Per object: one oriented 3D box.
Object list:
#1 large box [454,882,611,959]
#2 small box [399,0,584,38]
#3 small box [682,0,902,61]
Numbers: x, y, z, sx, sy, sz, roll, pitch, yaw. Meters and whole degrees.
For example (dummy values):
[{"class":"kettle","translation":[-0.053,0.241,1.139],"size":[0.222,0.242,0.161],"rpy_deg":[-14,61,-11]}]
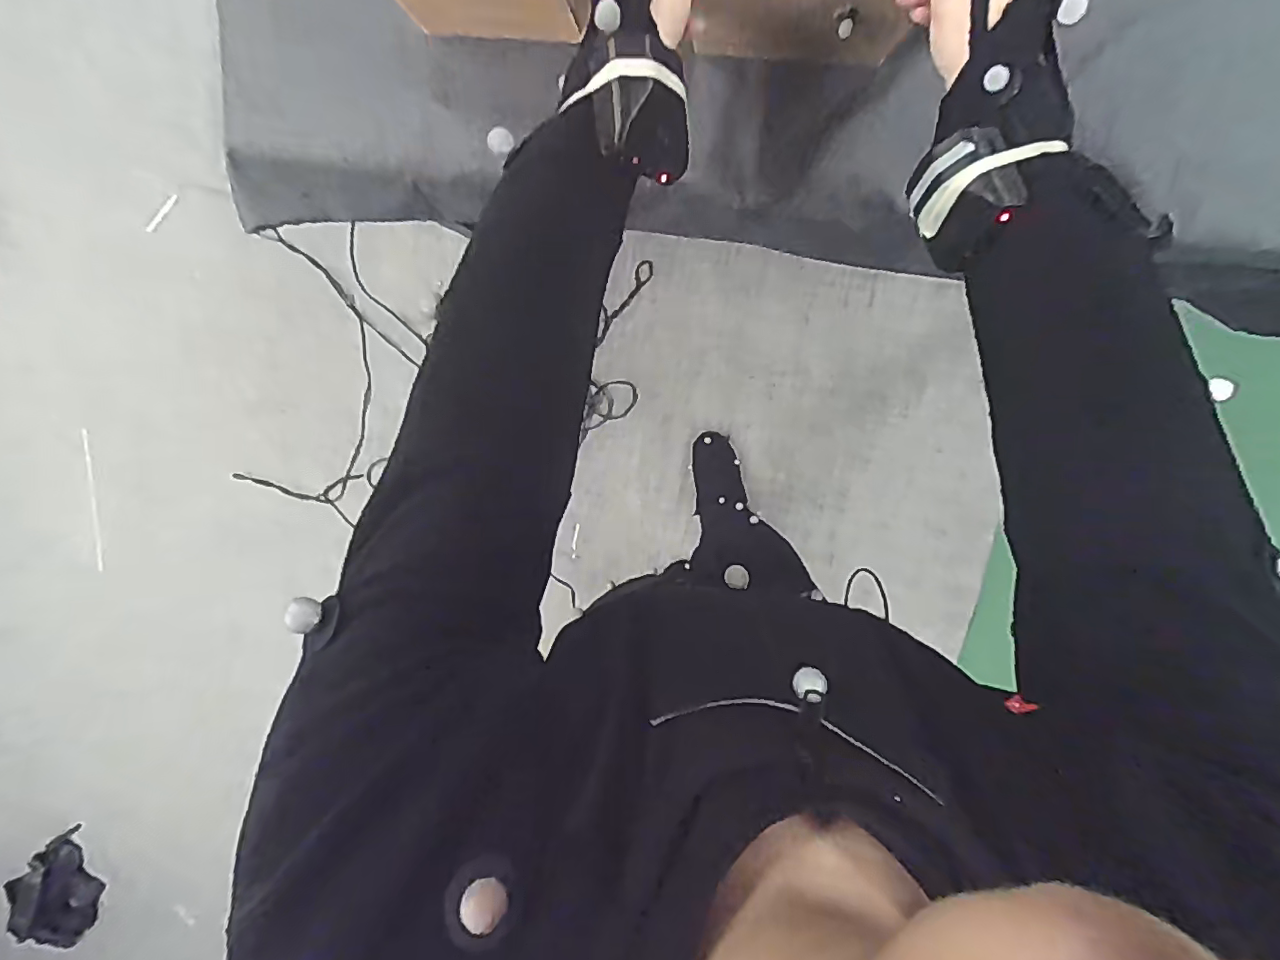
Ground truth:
[{"class":"large box","translation":[-0.334,1.484,1.573],"size":[0.408,0.320,0.320],"rpy_deg":[16,103,7]},{"class":"small box","translation":[-0.146,-0.510,0.449],"size":[0.179,0.176,0.168],"rpy_deg":[8,102,7]},{"class":"small box","translation":[0.128,-0.451,0.407],"size":[0.179,0.176,0.168],"rpy_deg":[10,107,9]}]
